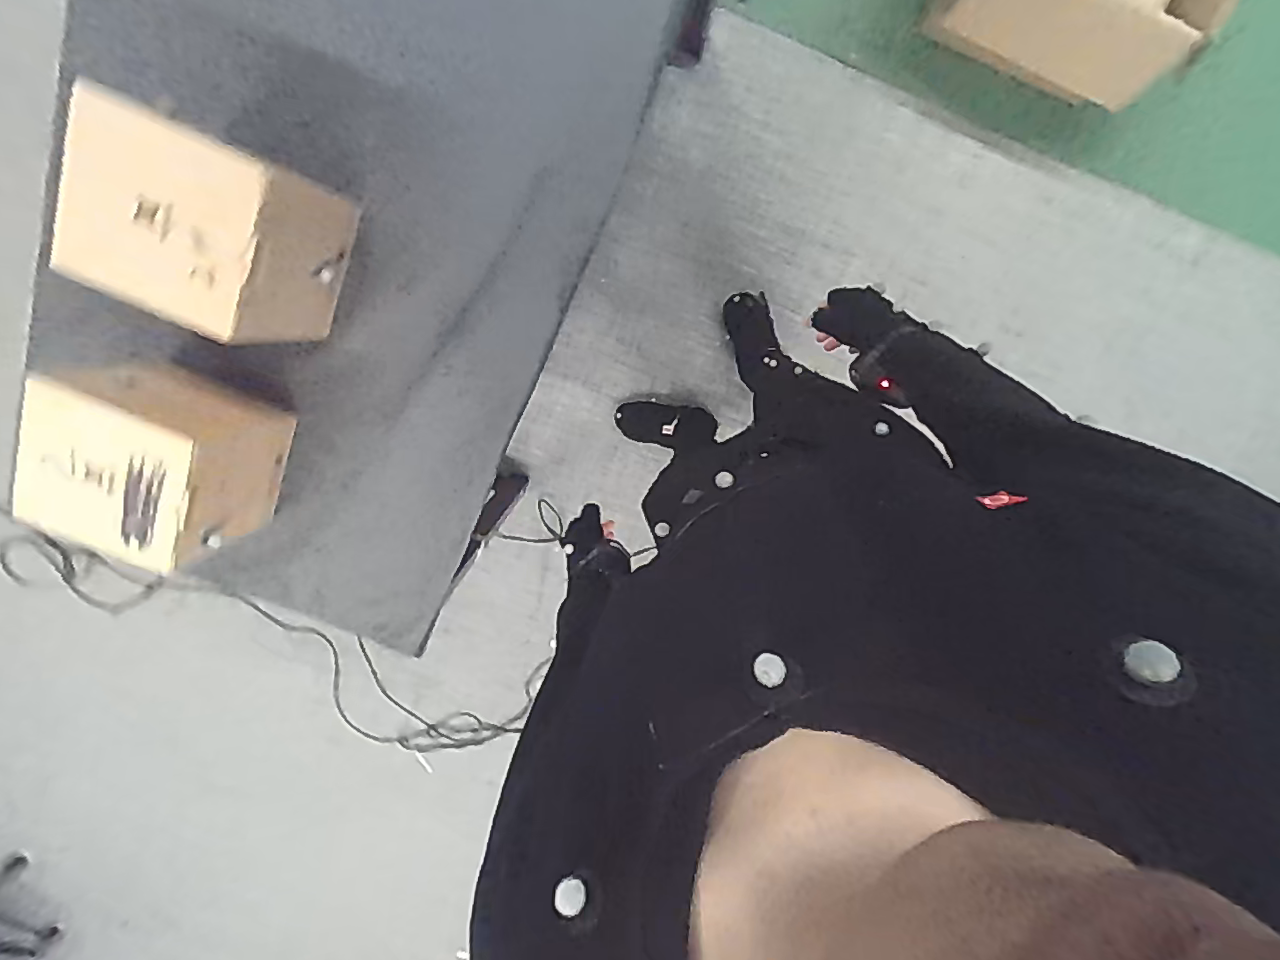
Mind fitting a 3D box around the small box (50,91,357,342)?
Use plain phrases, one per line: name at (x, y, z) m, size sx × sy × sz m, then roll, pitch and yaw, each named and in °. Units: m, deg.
small box at (-0.444, -0.258, 0.575) m, size 0.179 × 0.176 × 0.168 m, roll 23°, pitch 105°, yaw -6°
